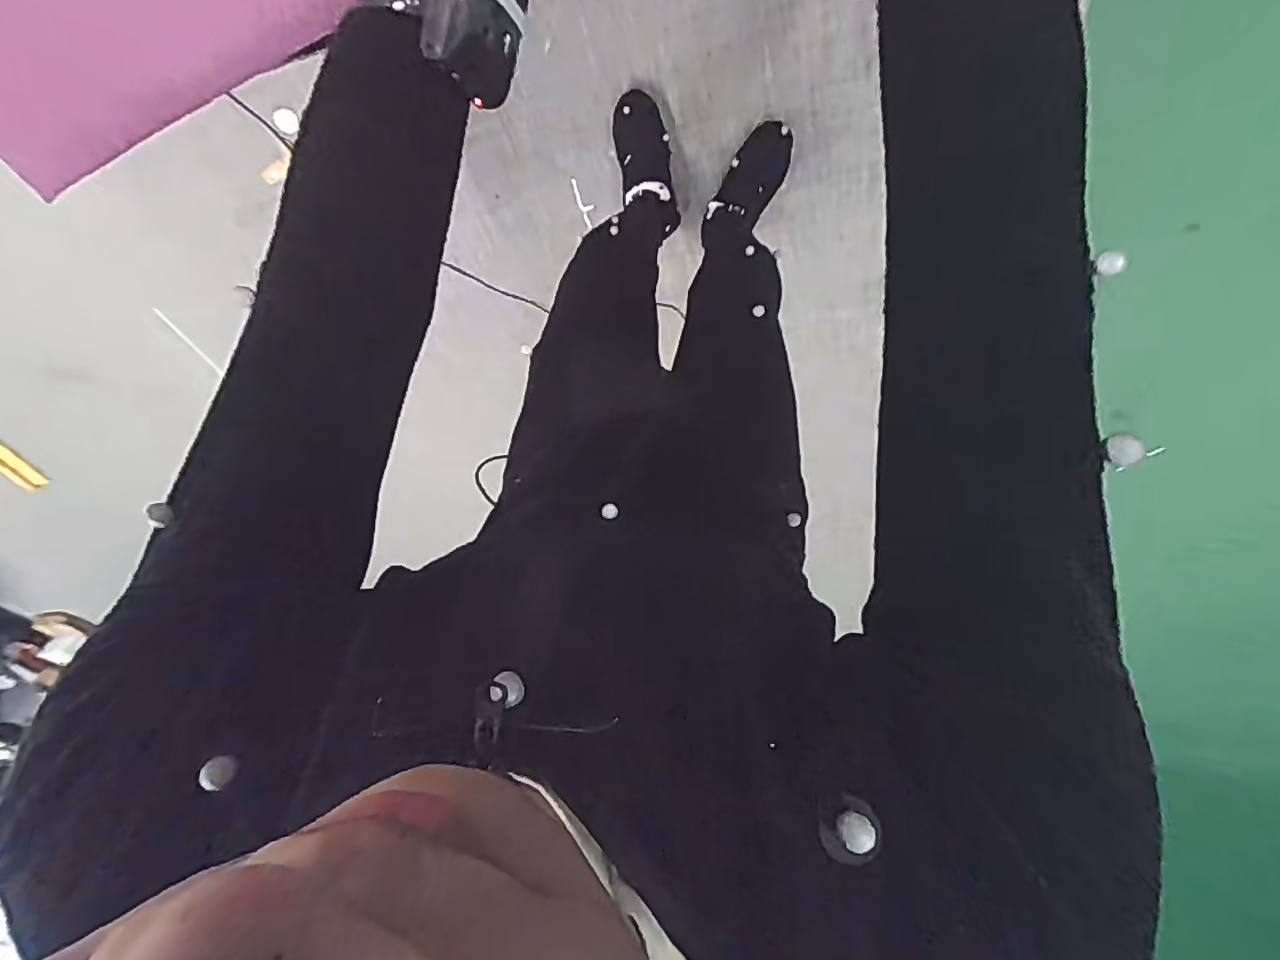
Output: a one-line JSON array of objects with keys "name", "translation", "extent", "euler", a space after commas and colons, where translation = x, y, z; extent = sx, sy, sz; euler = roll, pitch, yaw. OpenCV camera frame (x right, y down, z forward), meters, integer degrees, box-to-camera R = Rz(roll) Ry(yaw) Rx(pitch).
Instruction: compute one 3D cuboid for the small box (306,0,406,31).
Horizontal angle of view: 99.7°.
[{"name": "small box", "translation": [-0.518, -0.951, 0.974], "extent": [0.179, 0.176, 0.168], "euler": [-8, 133, 21]}]
